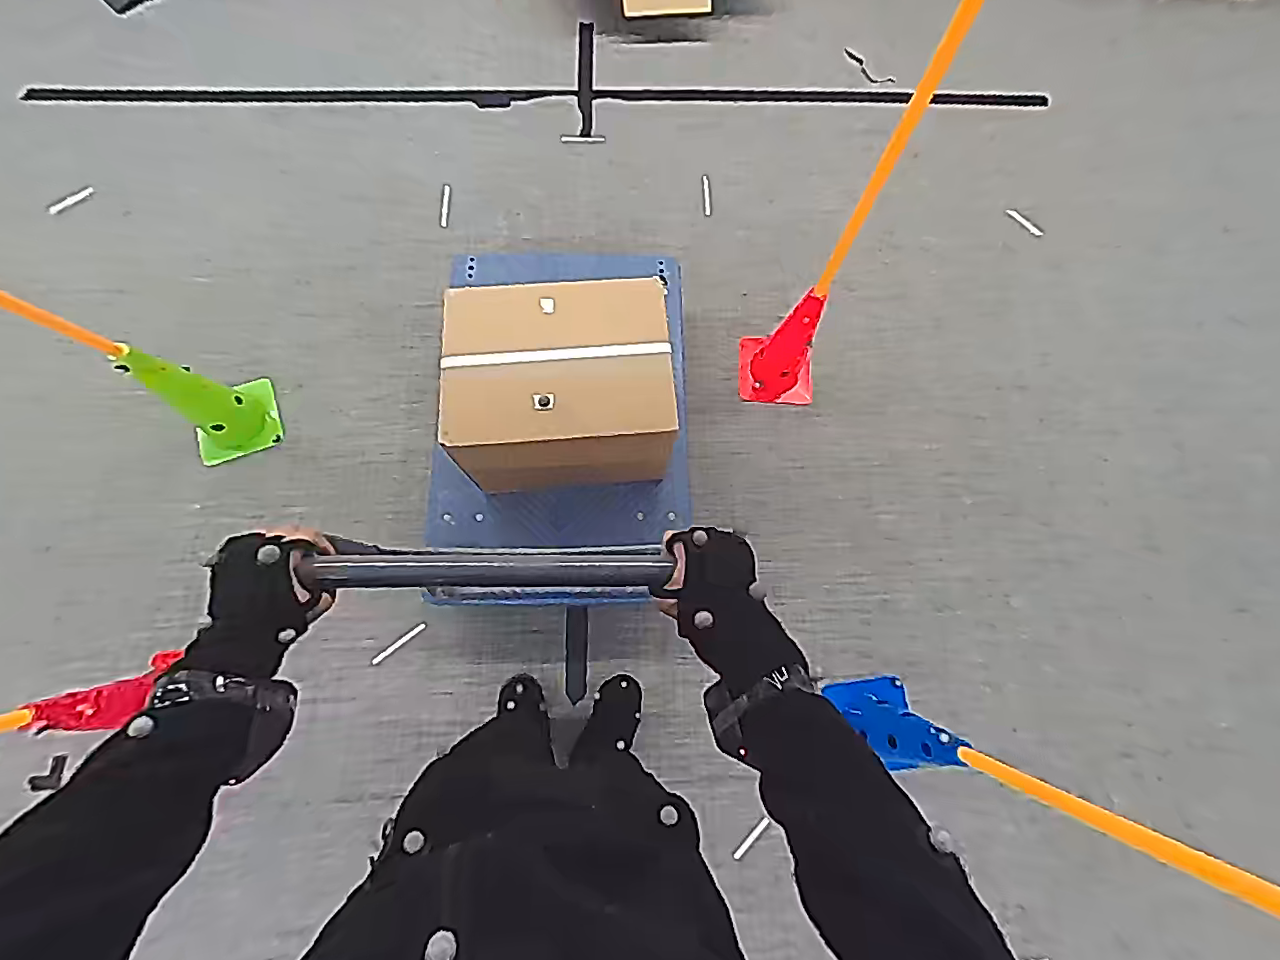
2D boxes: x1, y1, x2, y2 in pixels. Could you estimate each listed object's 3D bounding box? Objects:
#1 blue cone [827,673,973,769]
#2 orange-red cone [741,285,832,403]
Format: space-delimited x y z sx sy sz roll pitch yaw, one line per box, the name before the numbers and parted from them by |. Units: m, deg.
blue cone | 0.546 0.505 1.093 0.193 0.380 0.192 -5 72 -4
orange-red cone | 0.391 -0.359 1.336 0.199 0.360 0.198 5 73 -2
